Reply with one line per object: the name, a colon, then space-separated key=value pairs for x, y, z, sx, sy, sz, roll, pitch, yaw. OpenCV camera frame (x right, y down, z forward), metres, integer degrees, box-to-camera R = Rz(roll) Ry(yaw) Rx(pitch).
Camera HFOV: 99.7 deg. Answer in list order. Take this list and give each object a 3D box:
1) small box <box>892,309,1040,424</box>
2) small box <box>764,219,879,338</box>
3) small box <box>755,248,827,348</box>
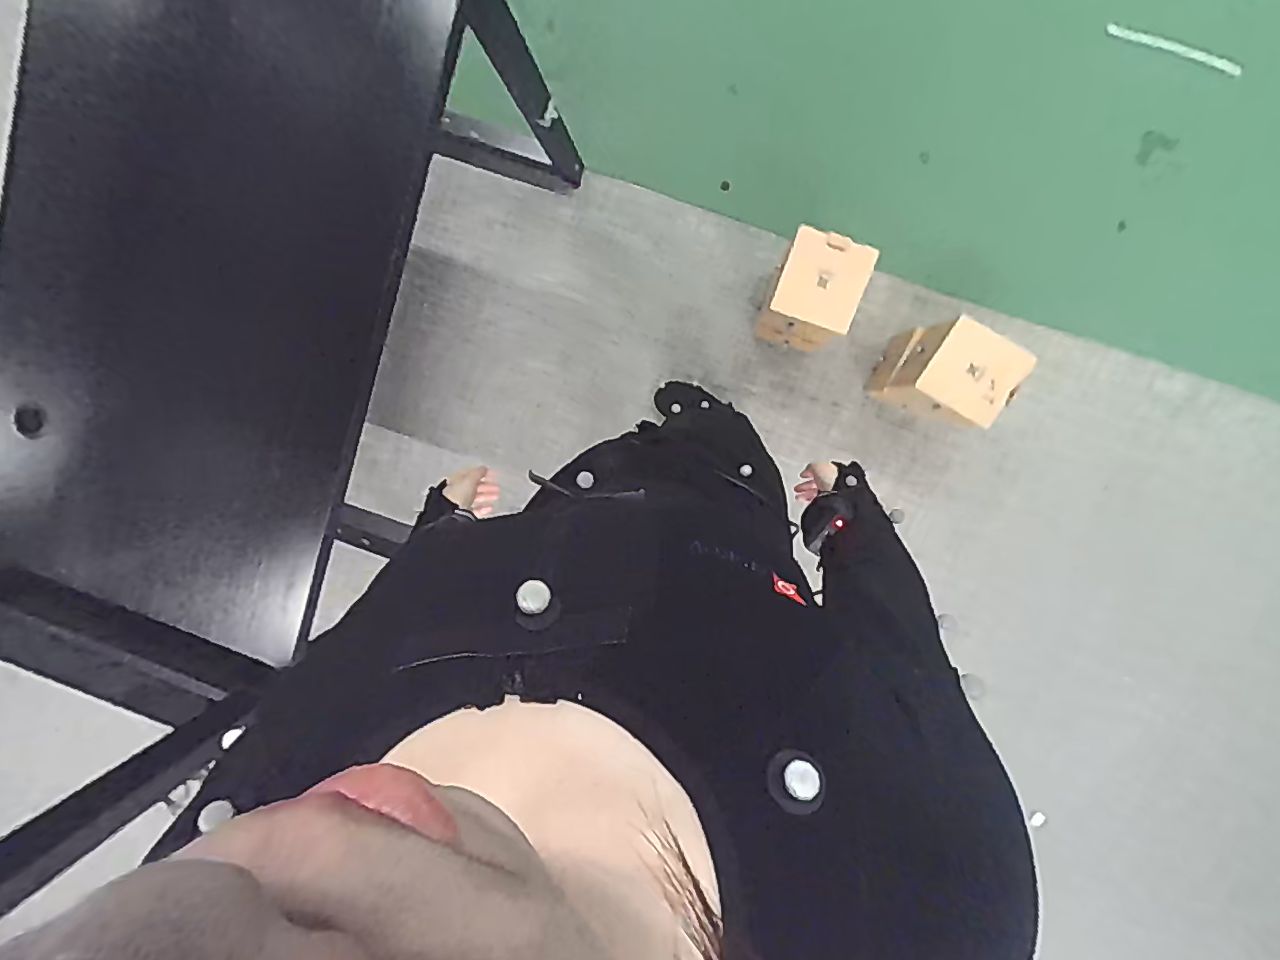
small box: x=0.668 y=-0.232 z=1.136 sx=0.179 sy=0.176 sz=0.168 roll=31 pitch=101 yaw=0
small box: x=0.370 y=-0.413 z=1.142 sx=0.168 sy=0.176 sz=0.179 roll=19 pitch=98 yaw=3
small box: x=0.384 y=-0.428 z=1.303 sx=0.168 sy=0.176 sz=0.179 roll=18 pitch=99 yaw=3
